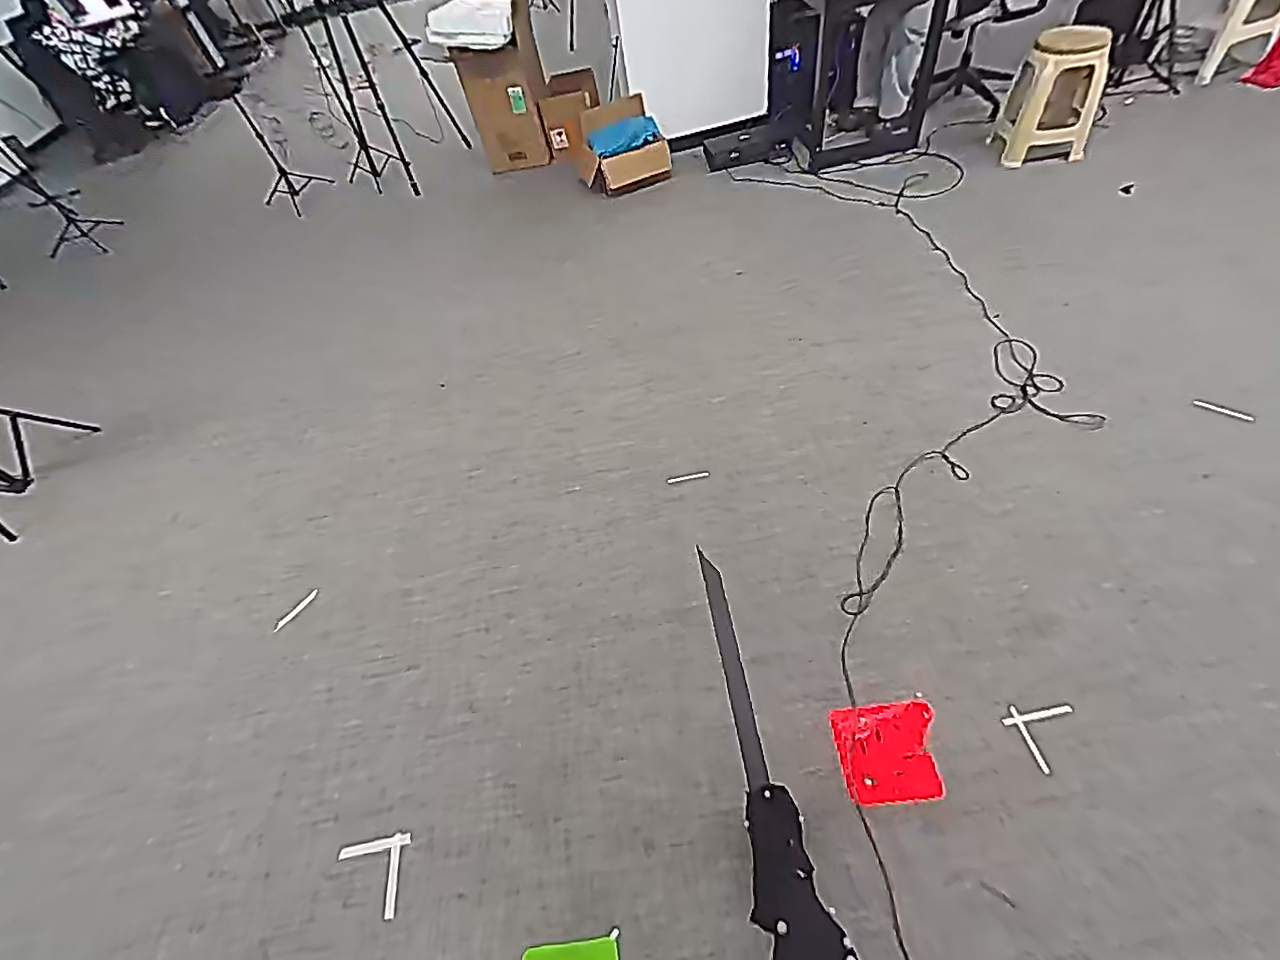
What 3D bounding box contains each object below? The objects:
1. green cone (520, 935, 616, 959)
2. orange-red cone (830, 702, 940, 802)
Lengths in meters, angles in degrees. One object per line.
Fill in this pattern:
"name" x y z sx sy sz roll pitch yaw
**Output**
"green cone" -0.169 0.907 0.902 0.202 0.368 0.200 -12 51 4
"orange-red cone" 0.518 0.506 1.076 0.199 0.360 0.198 -7 53 5
